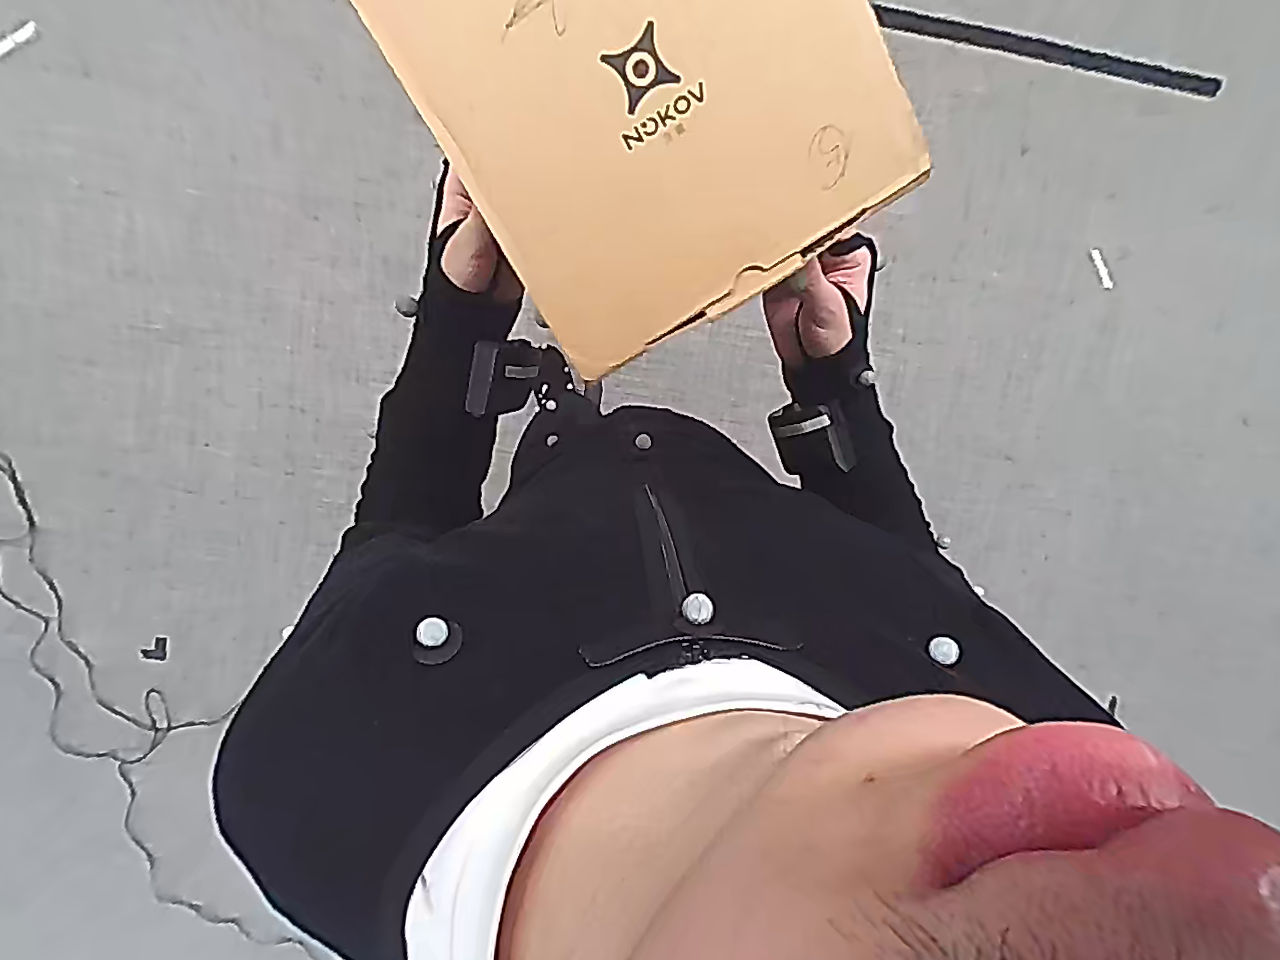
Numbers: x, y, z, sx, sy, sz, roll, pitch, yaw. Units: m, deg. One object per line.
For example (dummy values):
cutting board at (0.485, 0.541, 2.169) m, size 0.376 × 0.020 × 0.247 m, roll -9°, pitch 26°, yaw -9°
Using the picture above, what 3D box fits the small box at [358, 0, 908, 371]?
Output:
small box at (0.002, -0.181, 0.296) m, size 0.168 × 0.176 × 0.179 m, roll -31°, pitch 102°, yaw 8°
